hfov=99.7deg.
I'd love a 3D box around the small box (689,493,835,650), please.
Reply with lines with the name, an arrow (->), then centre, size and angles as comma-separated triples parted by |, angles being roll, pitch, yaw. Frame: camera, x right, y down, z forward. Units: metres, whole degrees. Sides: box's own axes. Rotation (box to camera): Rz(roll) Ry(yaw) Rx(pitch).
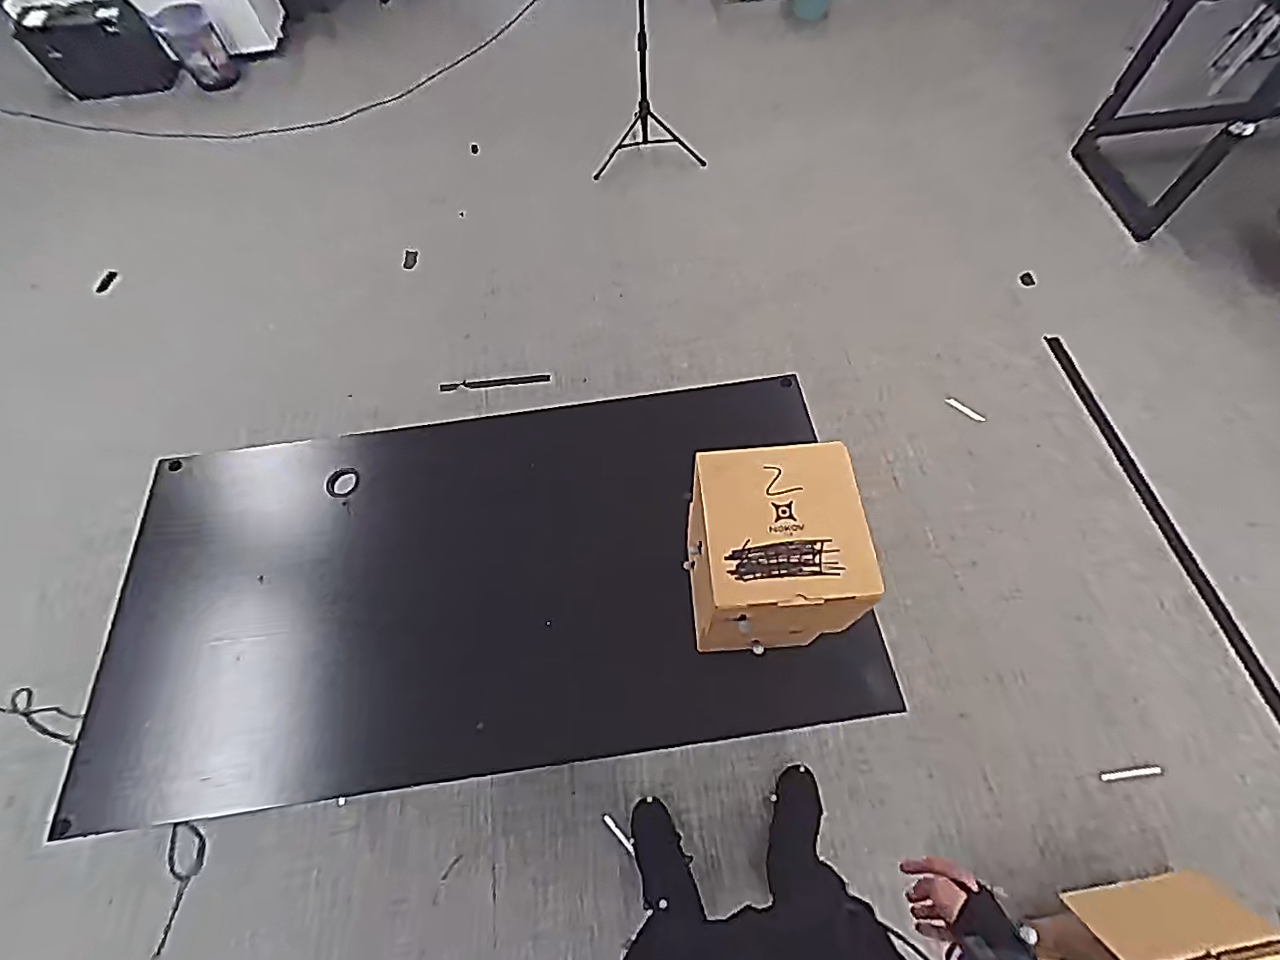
small box -> 0.159, 0.136, 0.772 | 0.168, 0.176, 0.179 | -4, 63, 2
